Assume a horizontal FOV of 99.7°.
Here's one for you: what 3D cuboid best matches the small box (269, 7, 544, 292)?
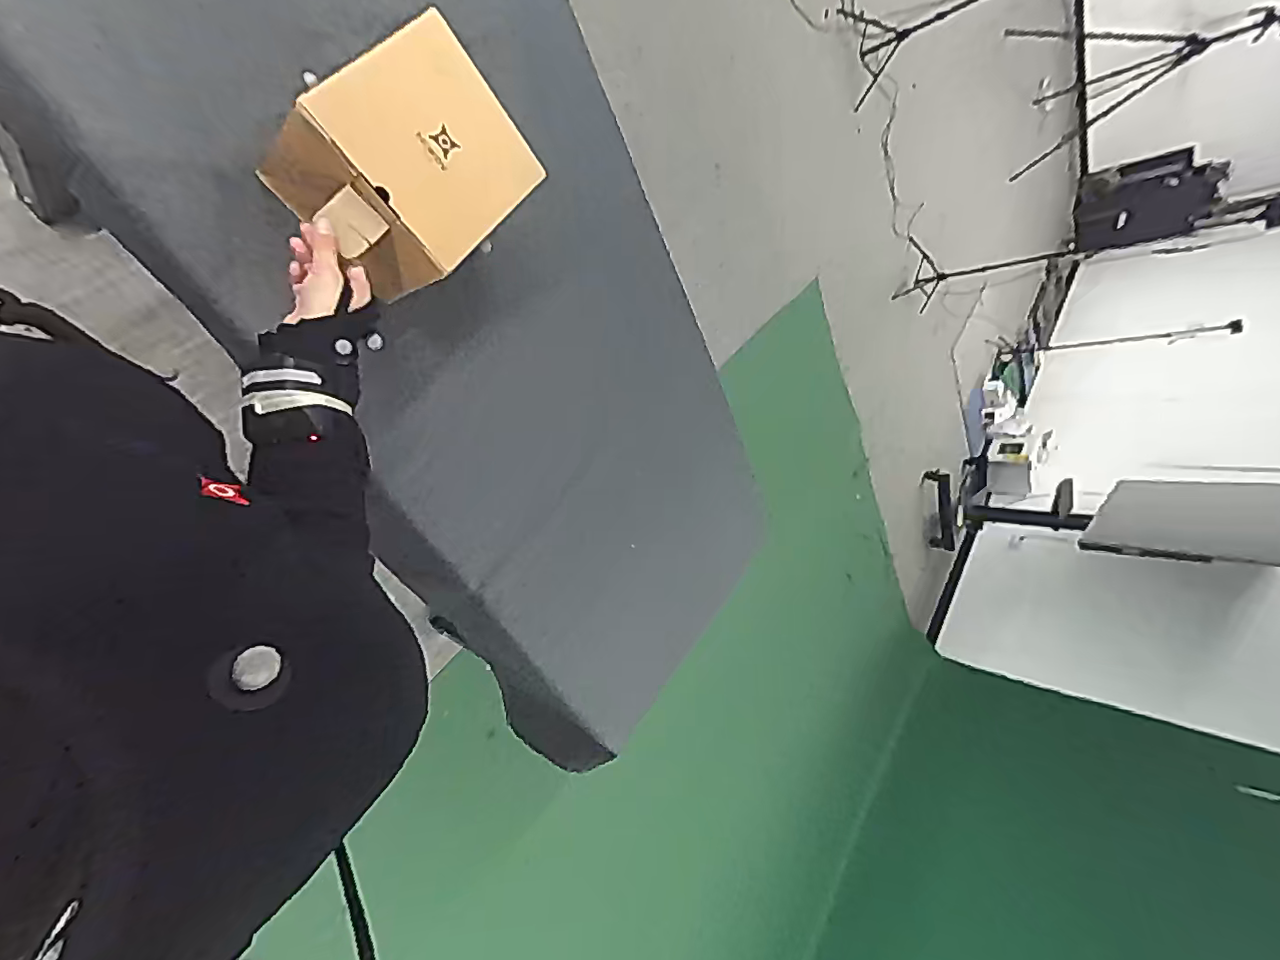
[{"bbox_3d":[-0.242,-0.325,0.563,0.168,0.176,0.179,50,61,-36],"label":"small box"}]
